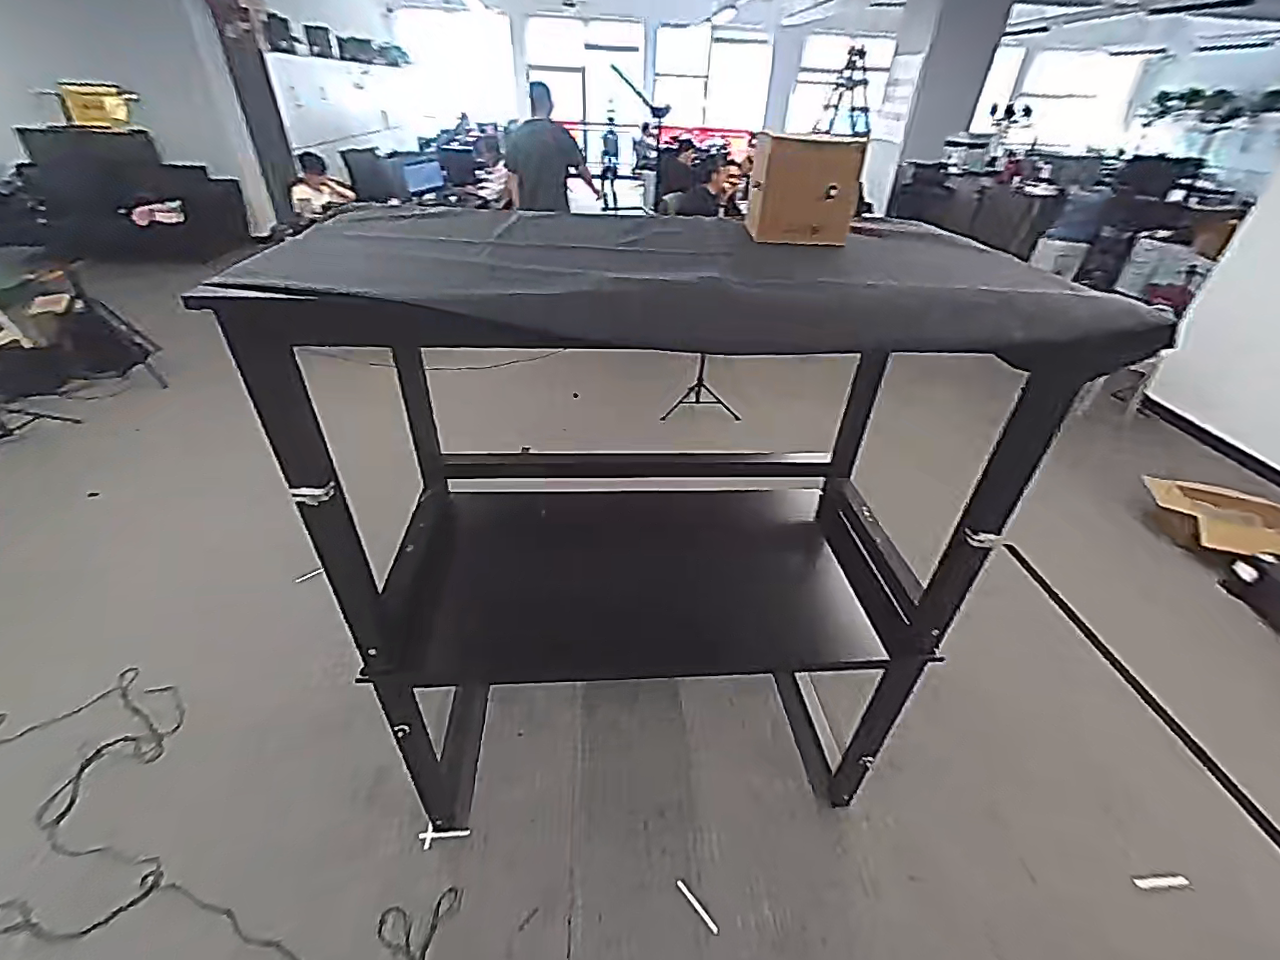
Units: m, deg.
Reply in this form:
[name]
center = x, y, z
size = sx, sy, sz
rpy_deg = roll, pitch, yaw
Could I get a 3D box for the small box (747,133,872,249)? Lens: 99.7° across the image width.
[small box]
center = 0.303, -0.539, 1.006
size = 0.168, 0.176, 0.179
rpy_deg = 4, 35, -1
